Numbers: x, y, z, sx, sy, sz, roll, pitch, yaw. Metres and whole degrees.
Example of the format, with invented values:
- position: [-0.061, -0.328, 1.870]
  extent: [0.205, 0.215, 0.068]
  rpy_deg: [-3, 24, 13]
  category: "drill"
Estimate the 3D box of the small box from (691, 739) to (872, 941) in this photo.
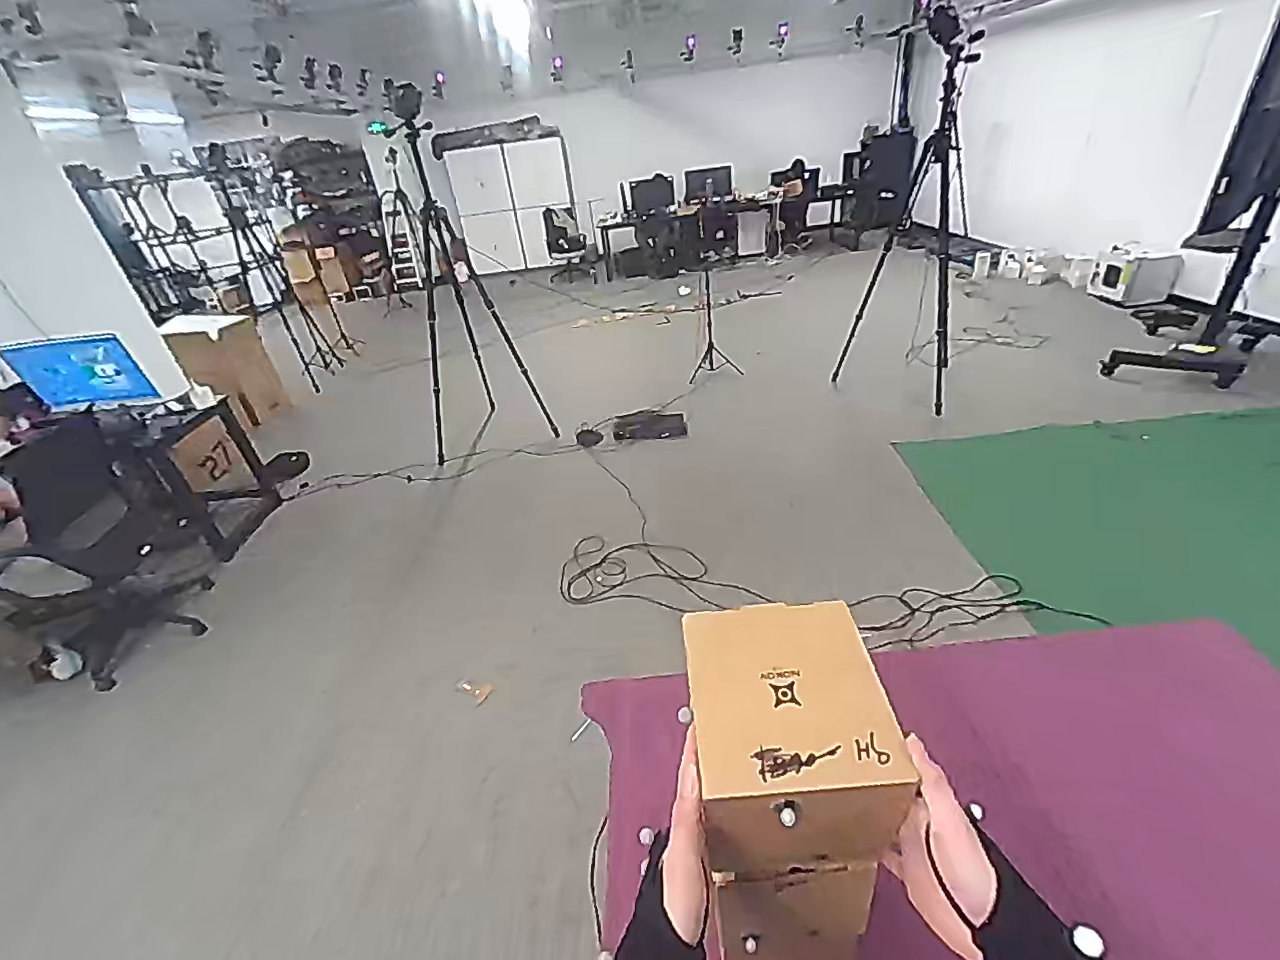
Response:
- position: [0.158, 0.413, 0.645]
  extent: [0.168, 0.176, 0.179]
  rpy_deg: [-8, 30, 2]
  category: "small box"

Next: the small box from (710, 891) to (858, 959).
- position: [0.178, 0.546, 0.738]
  extent: [0.168, 0.176, 0.179]
  rpy_deg: [-8, 32, 2]
  category: "small box"

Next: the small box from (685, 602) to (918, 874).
- position: [0.132, 0.242, 0.516]
  extent: [0.168, 0.176, 0.179]
  rpy_deg: [-6, 38, 3]
  category: "small box"
